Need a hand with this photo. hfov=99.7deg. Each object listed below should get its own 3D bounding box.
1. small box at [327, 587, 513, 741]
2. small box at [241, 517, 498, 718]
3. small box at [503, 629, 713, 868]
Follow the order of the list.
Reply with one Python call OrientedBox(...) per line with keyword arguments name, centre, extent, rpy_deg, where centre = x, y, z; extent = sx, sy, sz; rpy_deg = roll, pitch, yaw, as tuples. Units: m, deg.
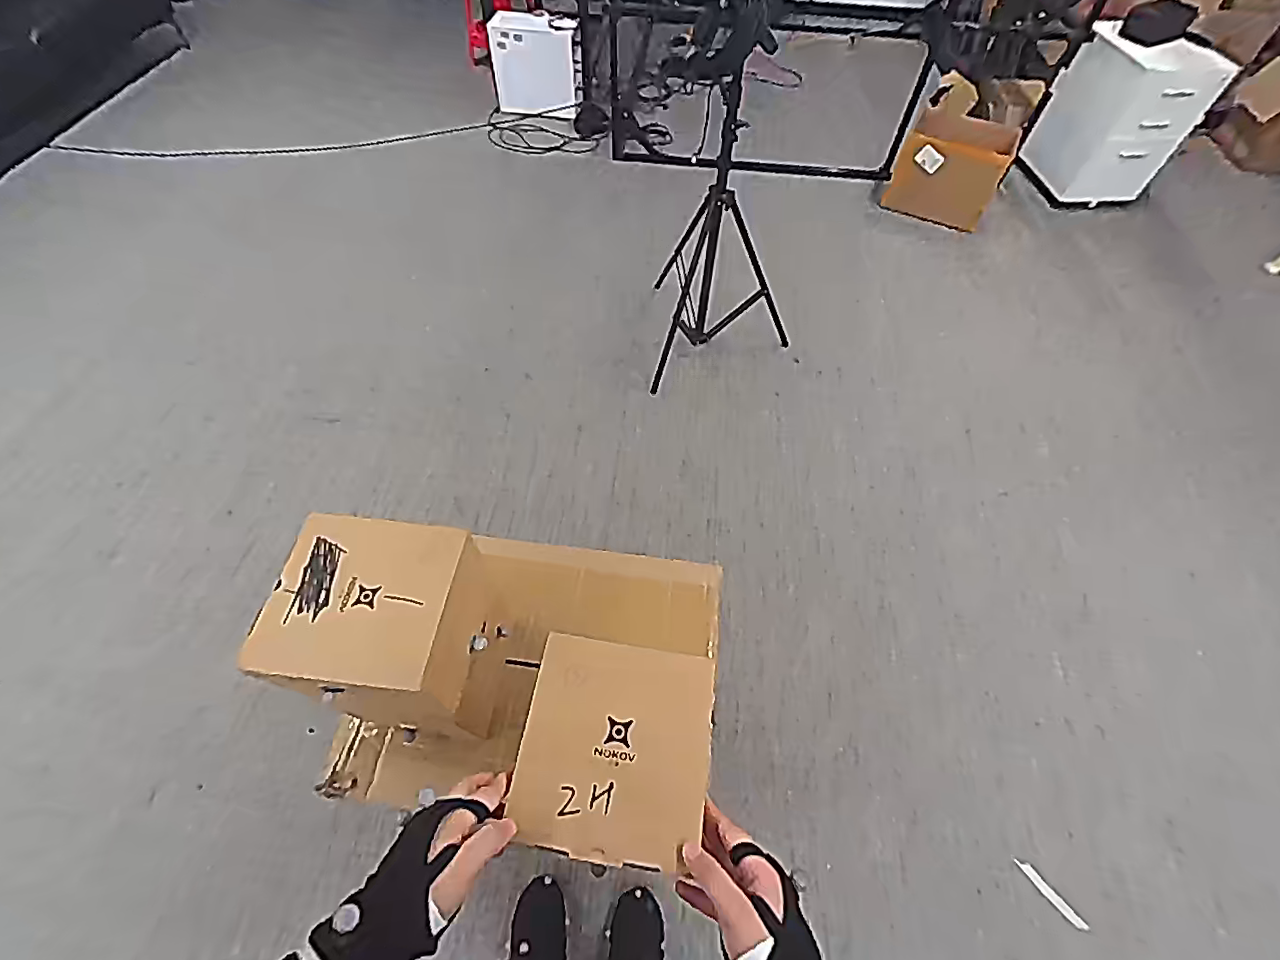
OrientedBox(name="small box", centre=(-0.282, 0.246, 0.744), extent=(0.168, 0.176, 0.179), rpy_deg=(6, 59, 3))
OrientedBox(name="small box", centre=(-0.276, 0.159, 0.604), extent=(0.179, 0.176, 0.168), rpy_deg=(6, 58, 2))
OrientedBox(name="small box", centre=(-0.023, 0.275, 0.554), extent=(0.168, 0.176, 0.179), rpy_deg=(7, 57, 5))
